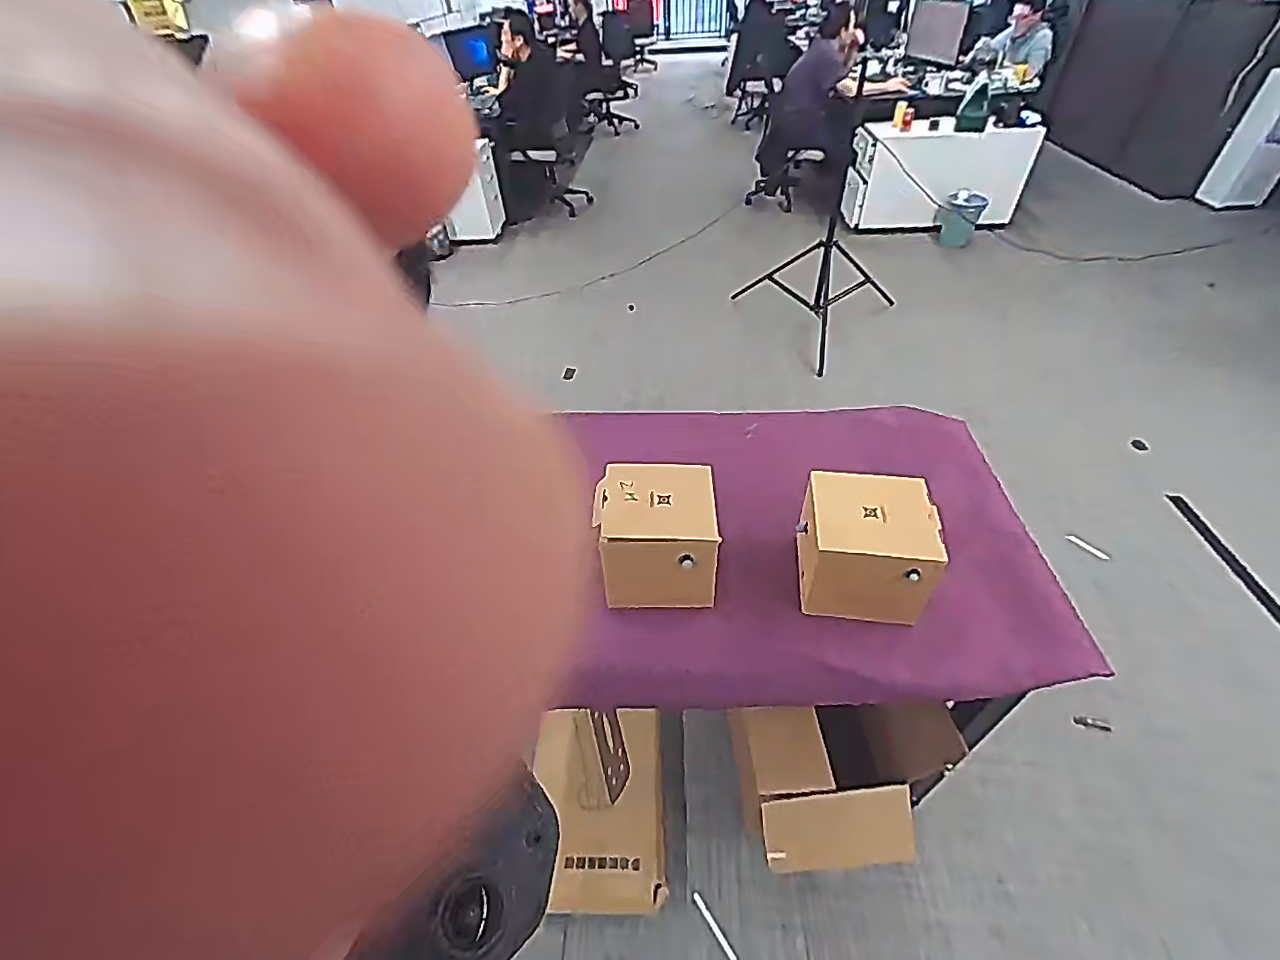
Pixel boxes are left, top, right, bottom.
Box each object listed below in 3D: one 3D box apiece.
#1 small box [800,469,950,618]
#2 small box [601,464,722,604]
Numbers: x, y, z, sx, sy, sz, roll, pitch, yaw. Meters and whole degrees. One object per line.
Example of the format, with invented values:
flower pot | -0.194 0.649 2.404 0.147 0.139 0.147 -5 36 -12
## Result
small box | 0.353 0.101 0.855 0.179 0.176 0.168 4 45 8
small box | 0.036 0.090 0.888 0.179 0.176 0.168 -1 42 3
